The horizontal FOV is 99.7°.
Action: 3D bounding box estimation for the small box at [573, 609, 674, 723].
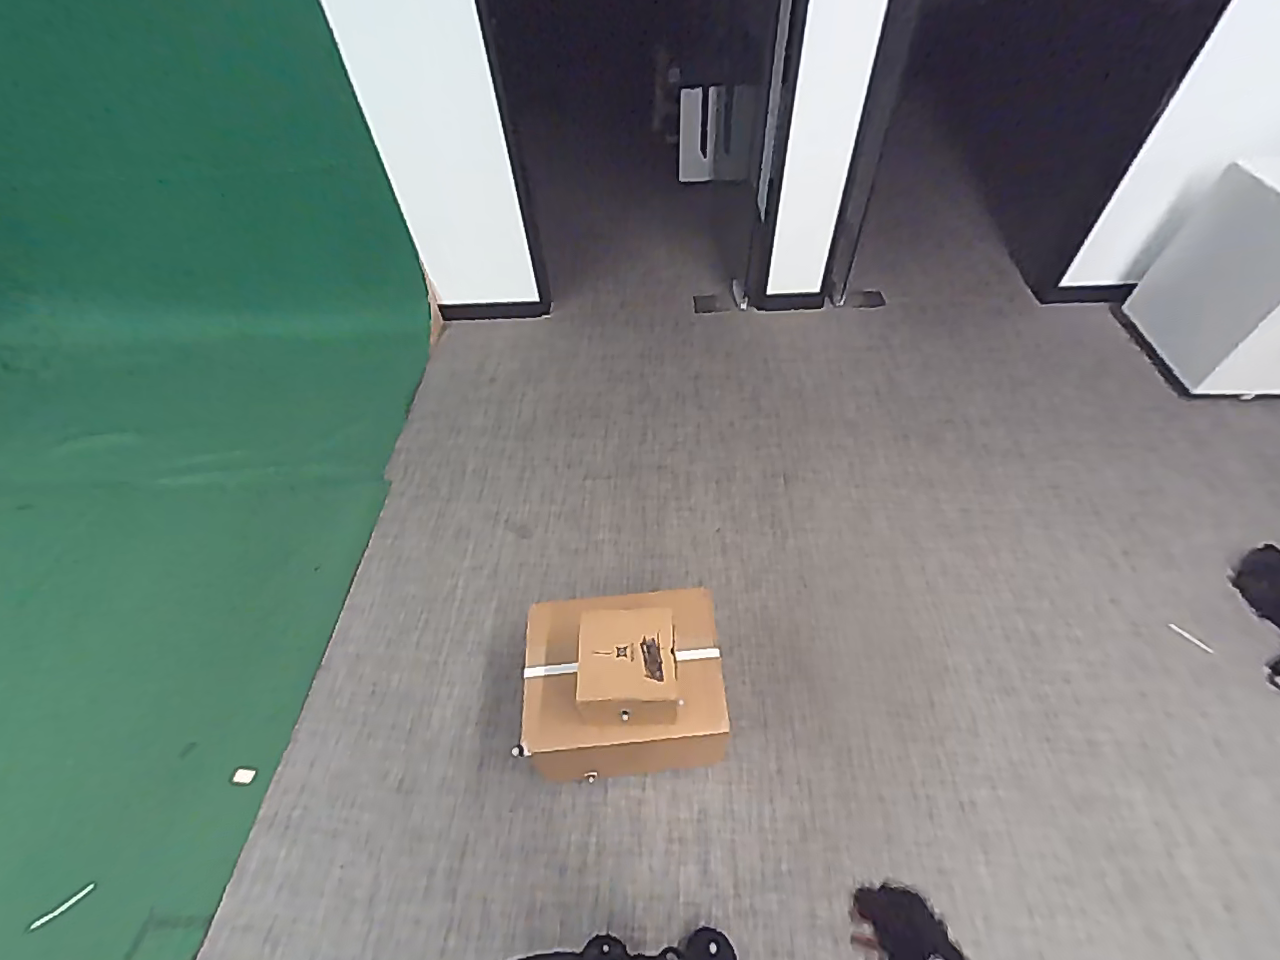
[{"bbox_3d":[-0.026,0.360,1.040,0.179,0.176,0.168,-3,52,2],"label":"small box"}]
